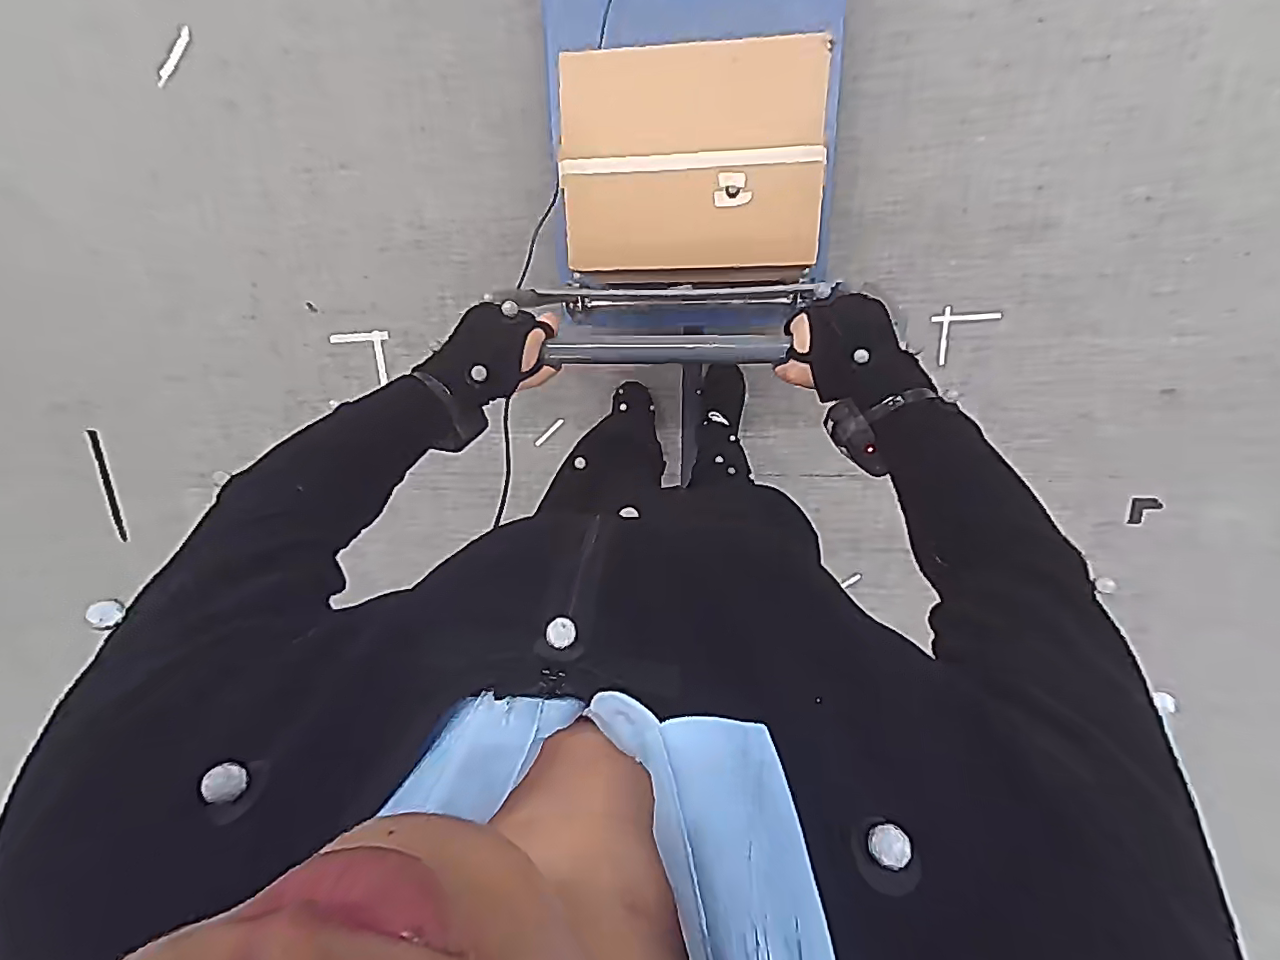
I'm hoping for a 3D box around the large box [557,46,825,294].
[{"bbox_3d":[0.088,-0.516,0.980,0.408,0.320,0.320,1,107,6],"label":"large box"}]
